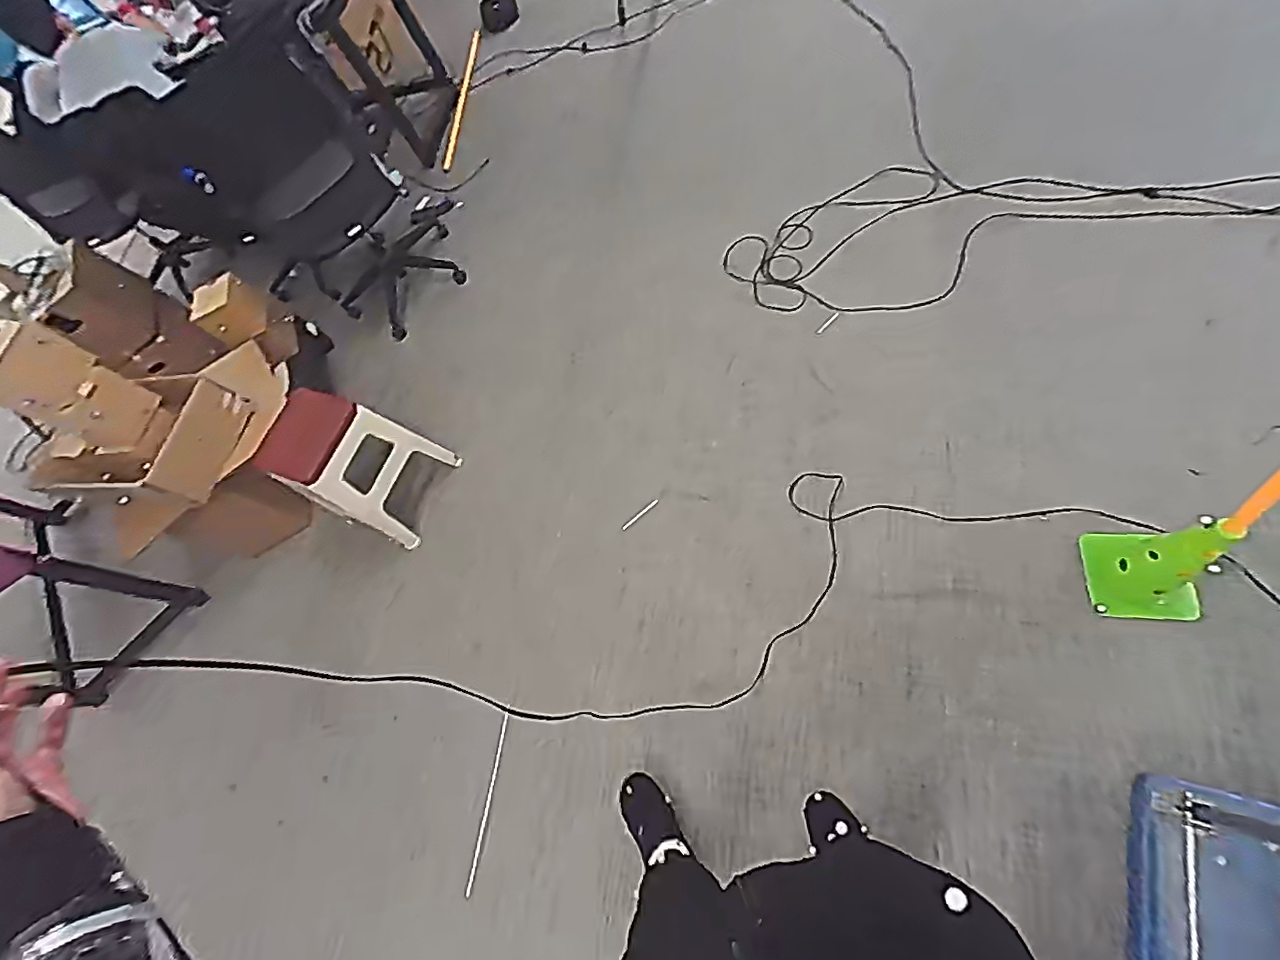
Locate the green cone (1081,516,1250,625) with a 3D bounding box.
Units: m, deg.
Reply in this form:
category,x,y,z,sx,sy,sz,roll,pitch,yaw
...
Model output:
category,x,y,z,sx,sy,sz,roll,pitch,yaw
green cone,1.104,0.160,1.099,0.200,0.368,0.202,-2,65,18
